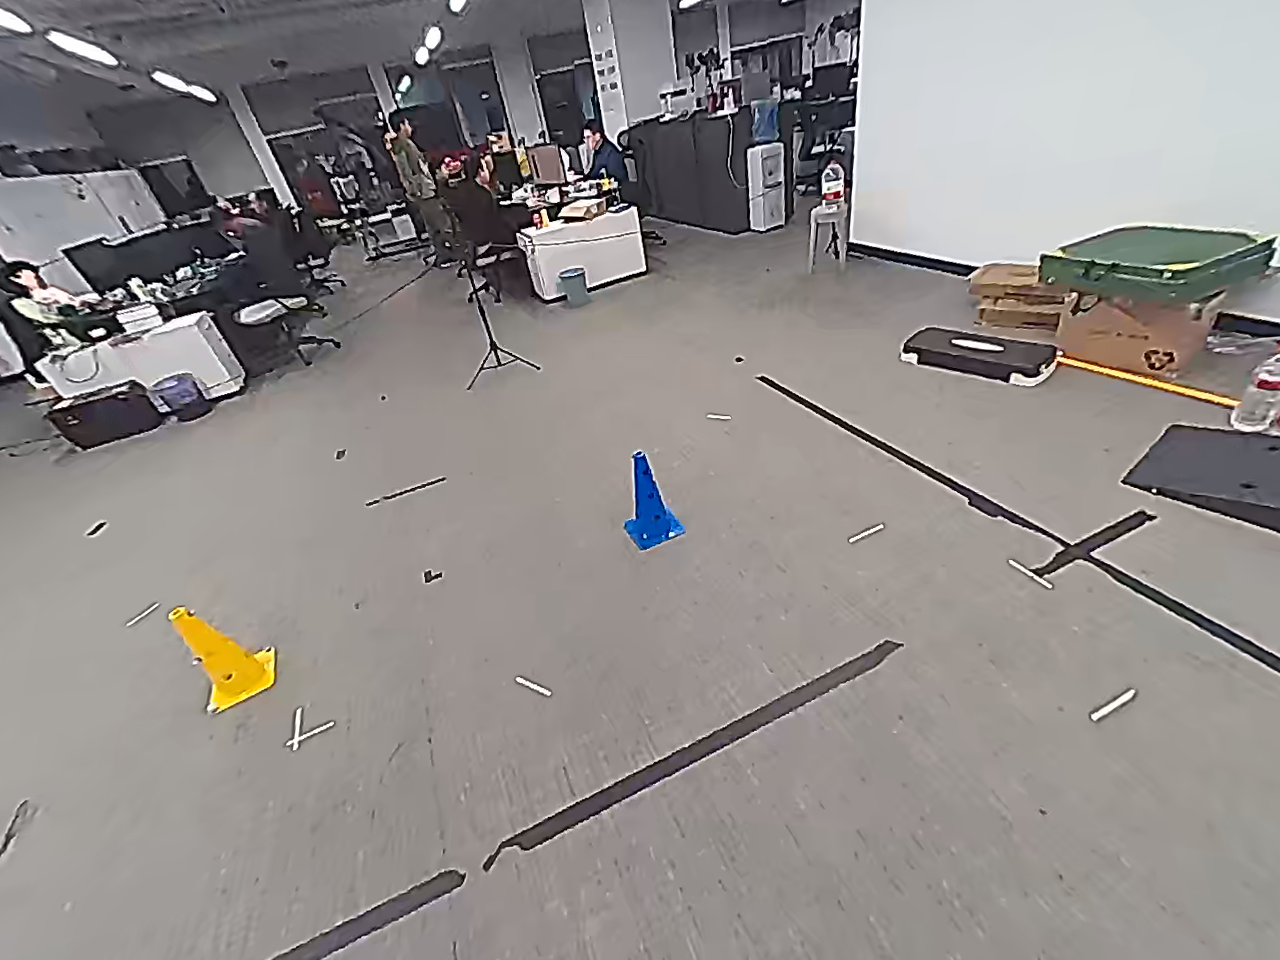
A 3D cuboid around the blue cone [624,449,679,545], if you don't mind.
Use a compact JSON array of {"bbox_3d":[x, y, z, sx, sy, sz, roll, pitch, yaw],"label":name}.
[{"bbox_3d":[0.017,0.052,2.074,0.193,0.380,0.192,-21,35,-13],"label":"blue cone"}]
